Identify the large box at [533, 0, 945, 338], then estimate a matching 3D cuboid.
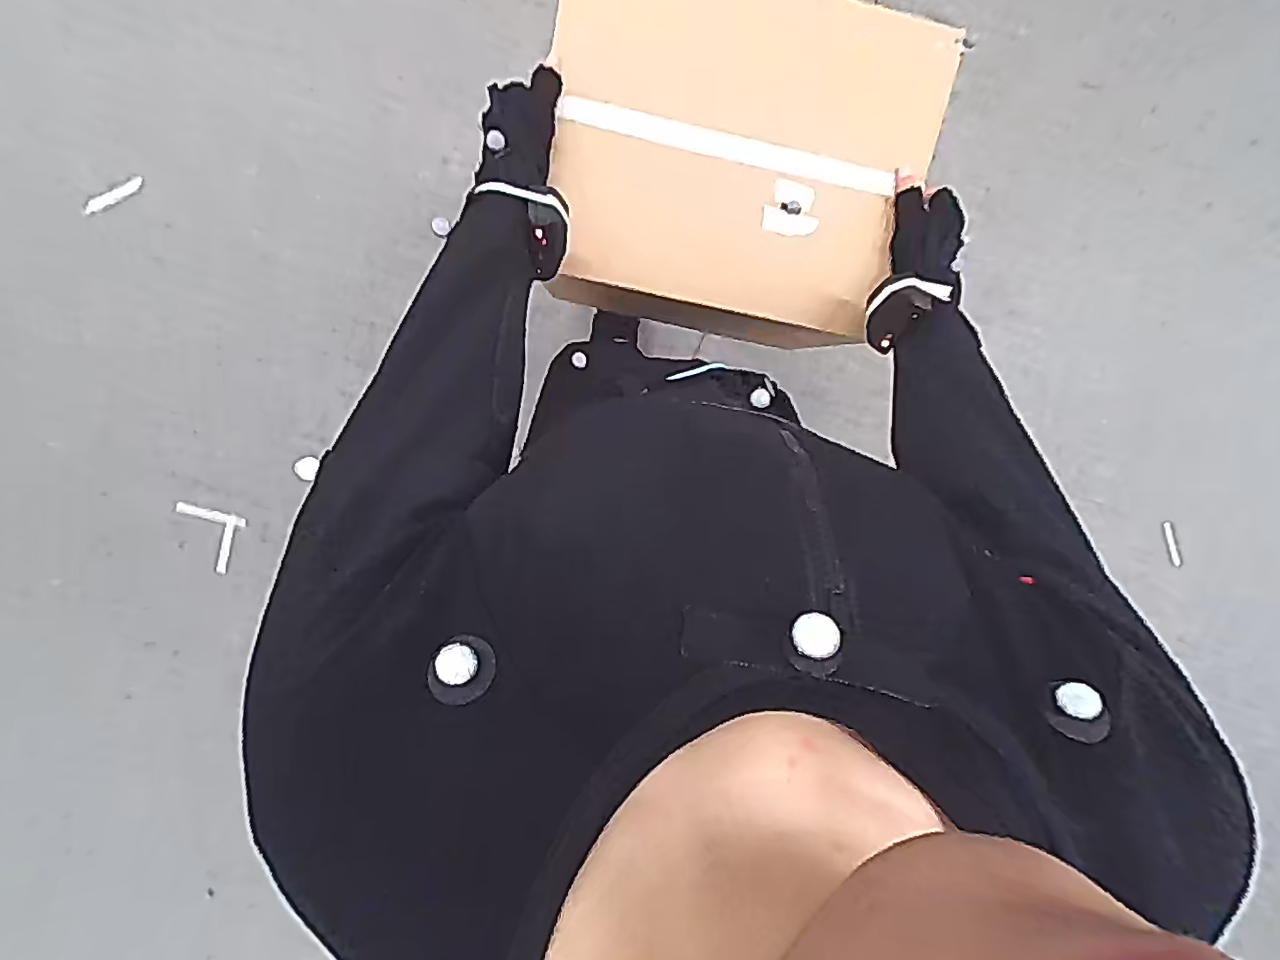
[{"bbox_3d":[0.091,-0.386,0.722,0.408,0.320,0.320,10,102,-7],"label":"large box"}]
